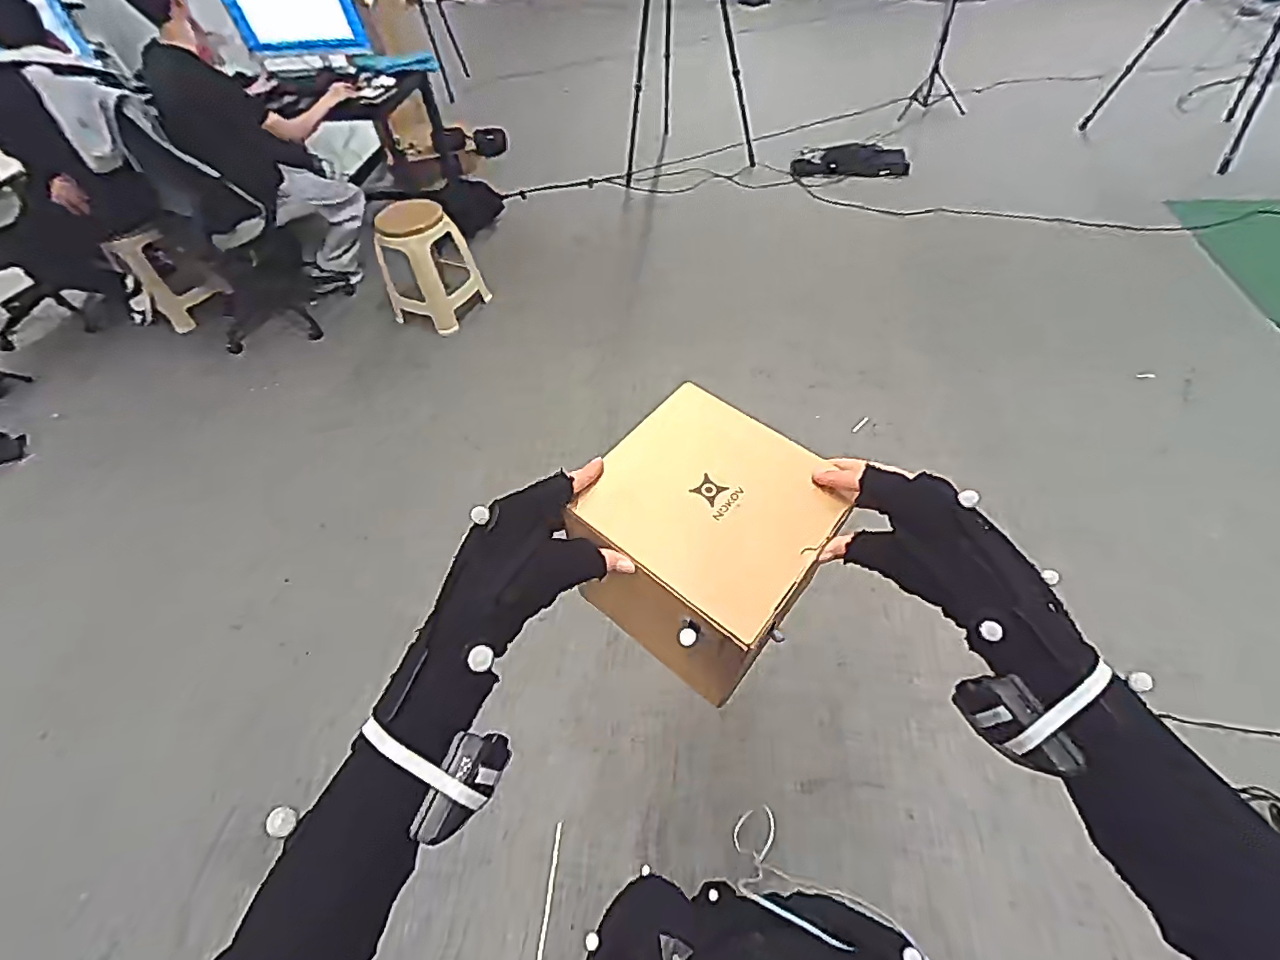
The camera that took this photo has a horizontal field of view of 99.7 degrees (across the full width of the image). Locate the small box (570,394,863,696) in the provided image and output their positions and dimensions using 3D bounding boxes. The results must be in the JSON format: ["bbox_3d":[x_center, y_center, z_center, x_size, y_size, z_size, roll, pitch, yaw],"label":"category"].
[{"bbox_3d":[0.057,0.062,0.487,0.179,0.176,0.168,36,61,21],"label":"small box"}]
